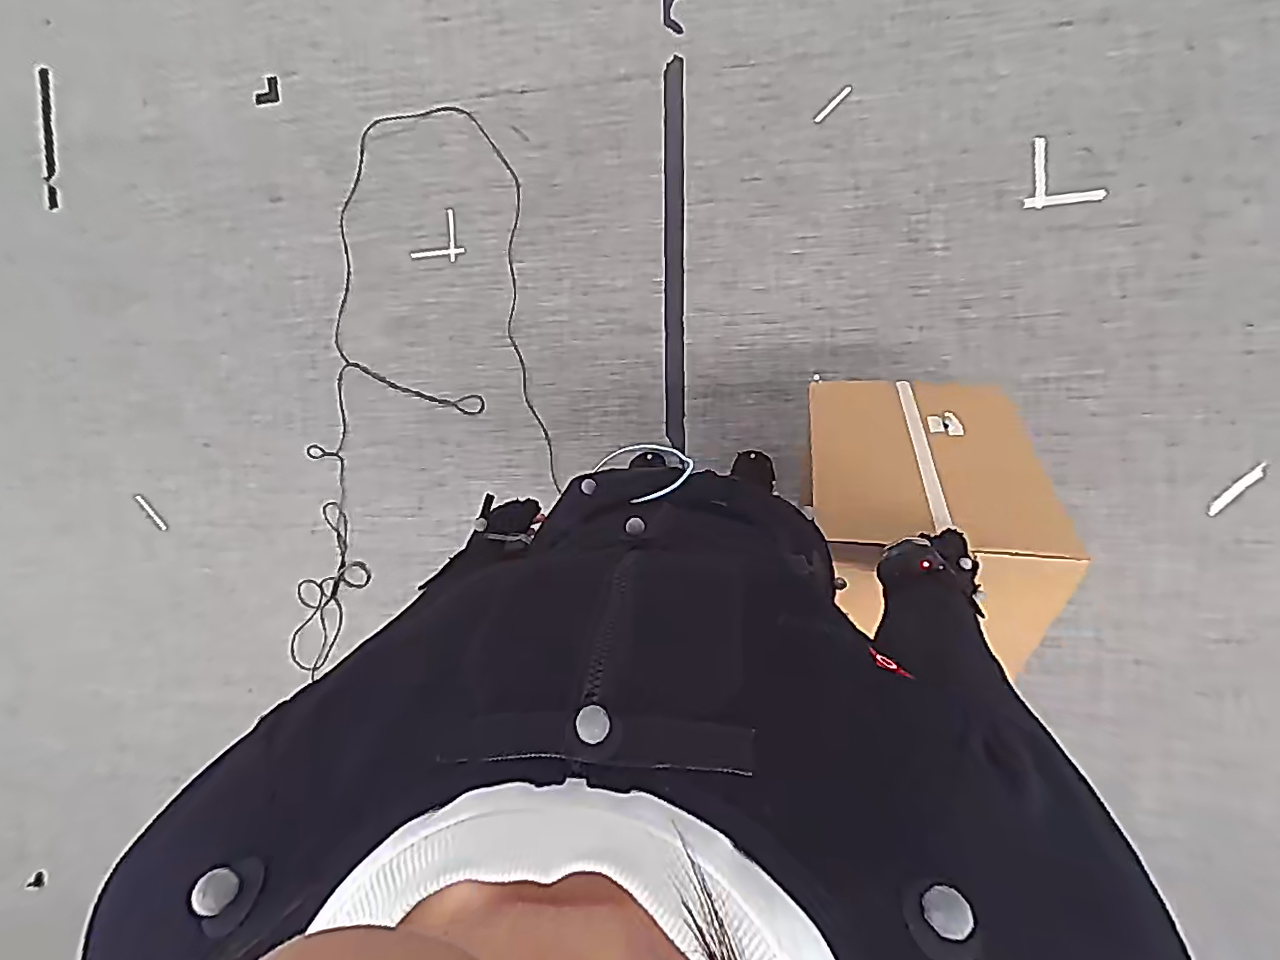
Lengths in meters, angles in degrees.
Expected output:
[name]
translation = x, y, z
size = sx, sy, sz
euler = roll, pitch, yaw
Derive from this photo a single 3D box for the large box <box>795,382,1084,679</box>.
[large box]
translation = 0.439, 0.071, 0.921
size = 0.320, 0.408, 0.320
euler = 3, 130, 11
